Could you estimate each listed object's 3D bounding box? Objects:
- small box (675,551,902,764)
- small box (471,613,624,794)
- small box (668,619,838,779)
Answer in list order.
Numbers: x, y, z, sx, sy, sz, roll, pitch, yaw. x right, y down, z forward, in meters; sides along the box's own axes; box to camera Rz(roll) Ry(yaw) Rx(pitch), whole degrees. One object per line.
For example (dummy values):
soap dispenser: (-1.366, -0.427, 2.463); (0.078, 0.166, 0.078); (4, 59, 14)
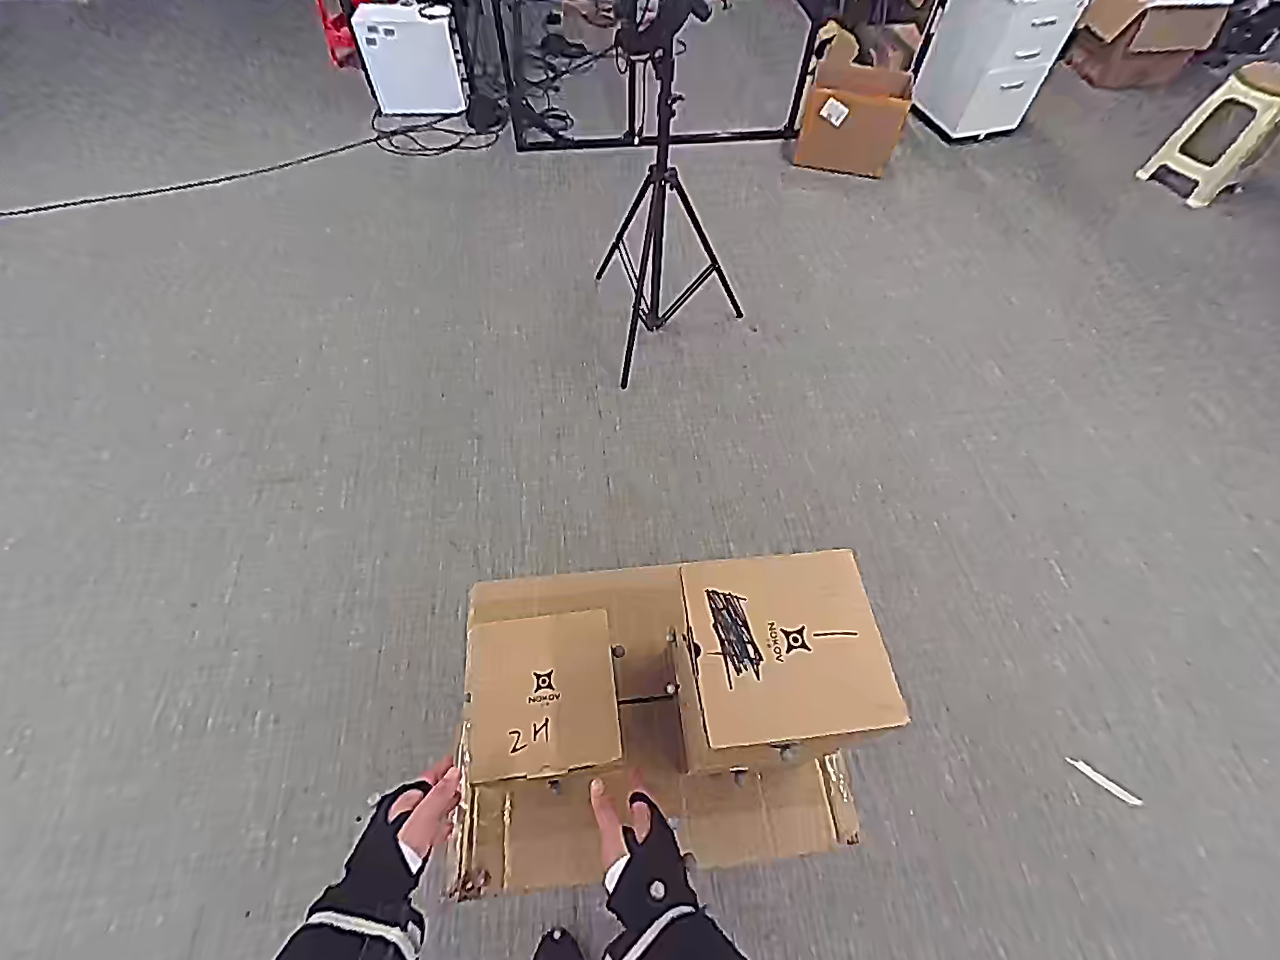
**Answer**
small box: (0.132, 0.191, 0.566); (0.179, 0.176, 0.168); (-6, 58, -3)
small box: (-0.113, 0.288, 0.692); (0.168, 0.176, 0.179); (-6, 58, -6)
small box: (0.130, 0.280, 0.705); (0.168, 0.176, 0.179); (-7, 59, -3)
